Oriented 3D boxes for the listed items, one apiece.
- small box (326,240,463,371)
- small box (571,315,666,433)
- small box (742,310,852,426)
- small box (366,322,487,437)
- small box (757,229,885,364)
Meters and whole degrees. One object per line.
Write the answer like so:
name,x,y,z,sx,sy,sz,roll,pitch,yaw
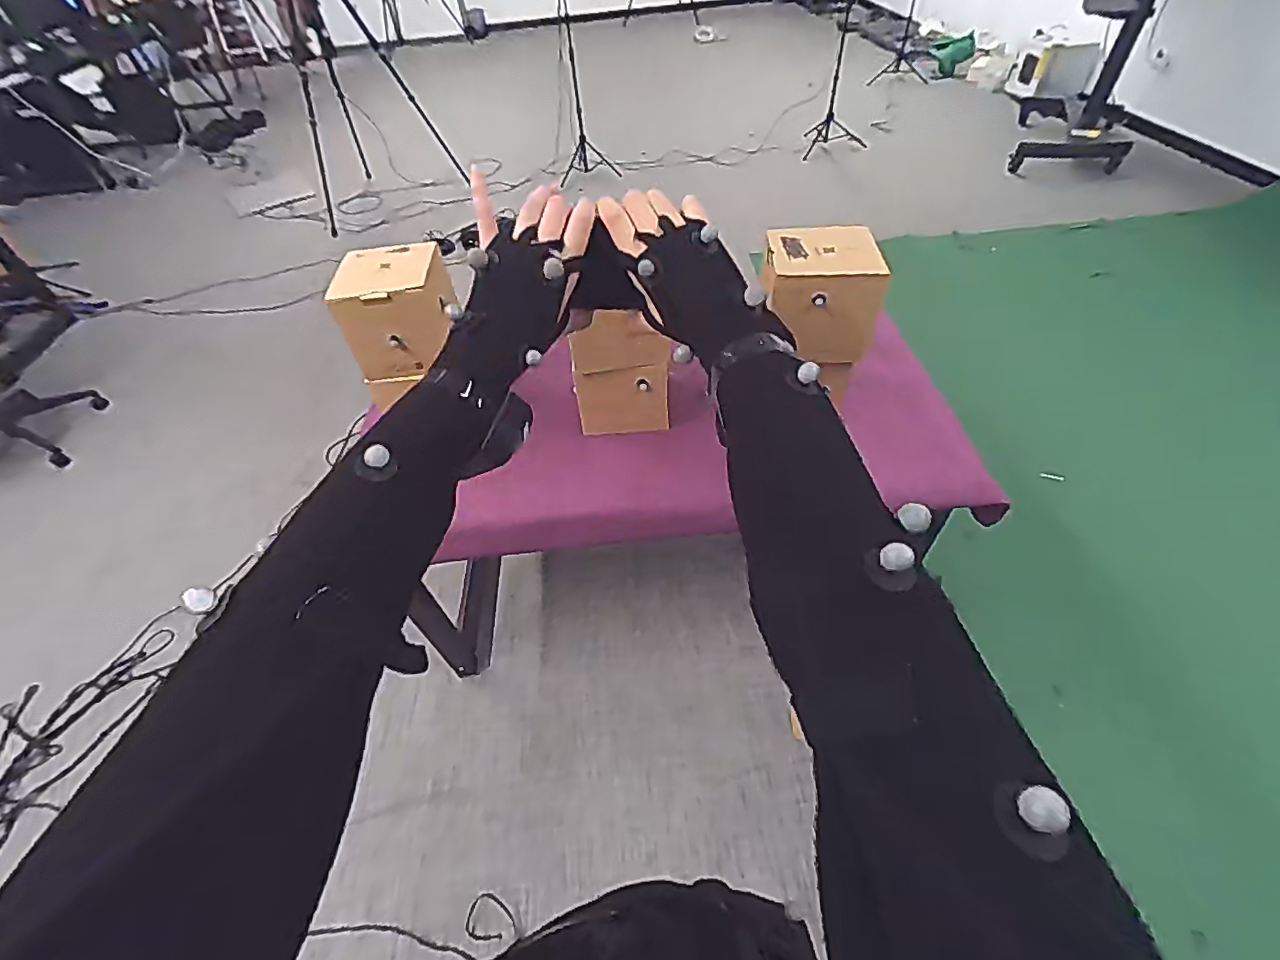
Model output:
small box,-0.439,-0.315,1.001,0.168,0.176,0.179,-7,50,-2
small box,-0.038,-0.211,1.094,0.179,0.176,0.168,-4,49,2
small box,0.302,-0.221,1.078,0.179,0.176,0.168,1,49,6
small box,-0.428,-0.201,1.119,0.168,0.176,0.179,-3,49,2
small box,0.301,-0.317,0.944,0.179,0.176,0.168,1,49,5
